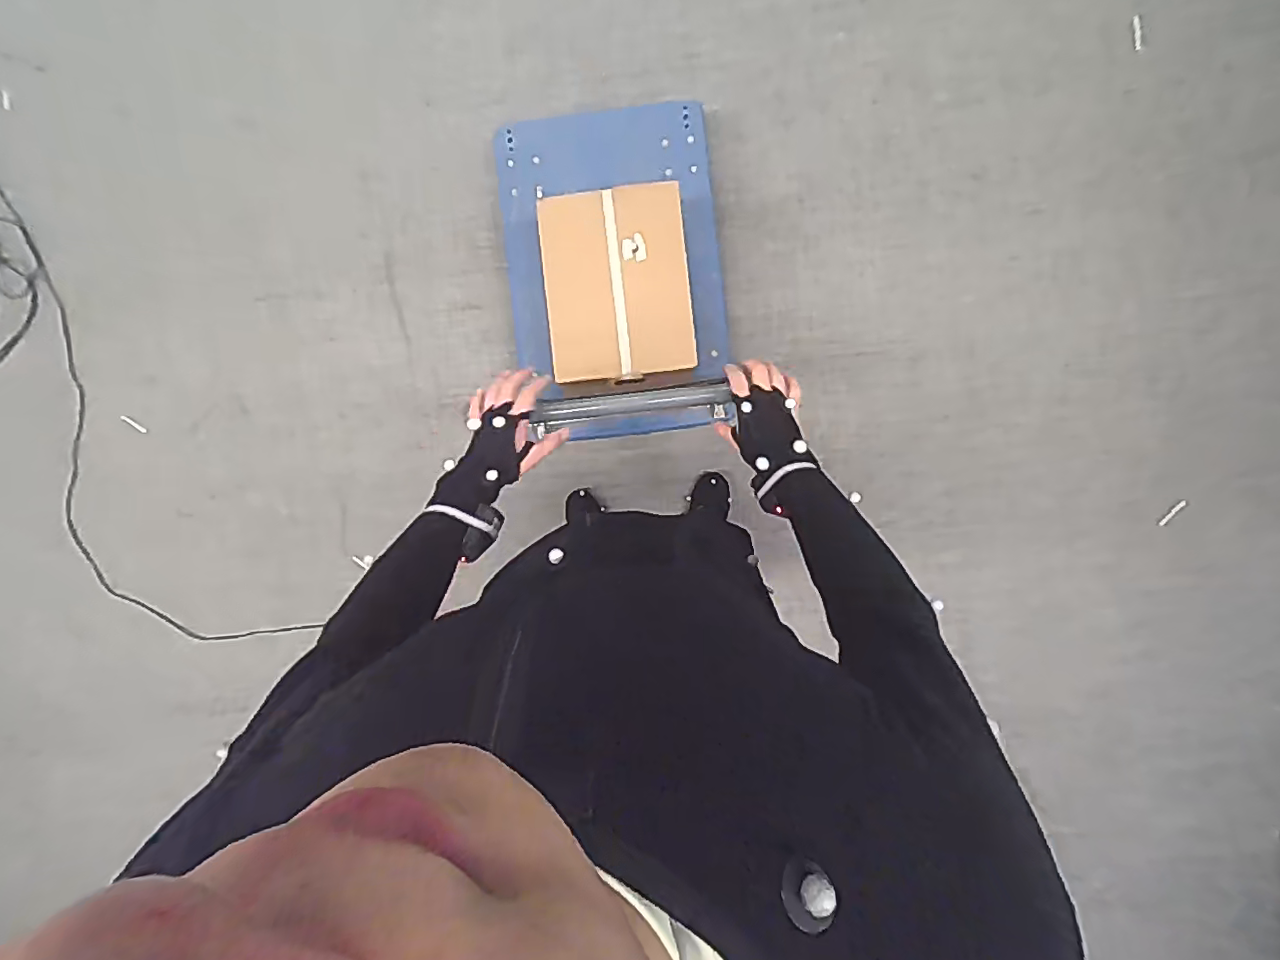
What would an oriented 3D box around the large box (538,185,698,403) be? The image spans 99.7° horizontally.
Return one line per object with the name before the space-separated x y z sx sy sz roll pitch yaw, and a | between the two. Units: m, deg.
large box | -0.043 -0.424 1.318 0.320 0.320 0.408 -6 90 1
